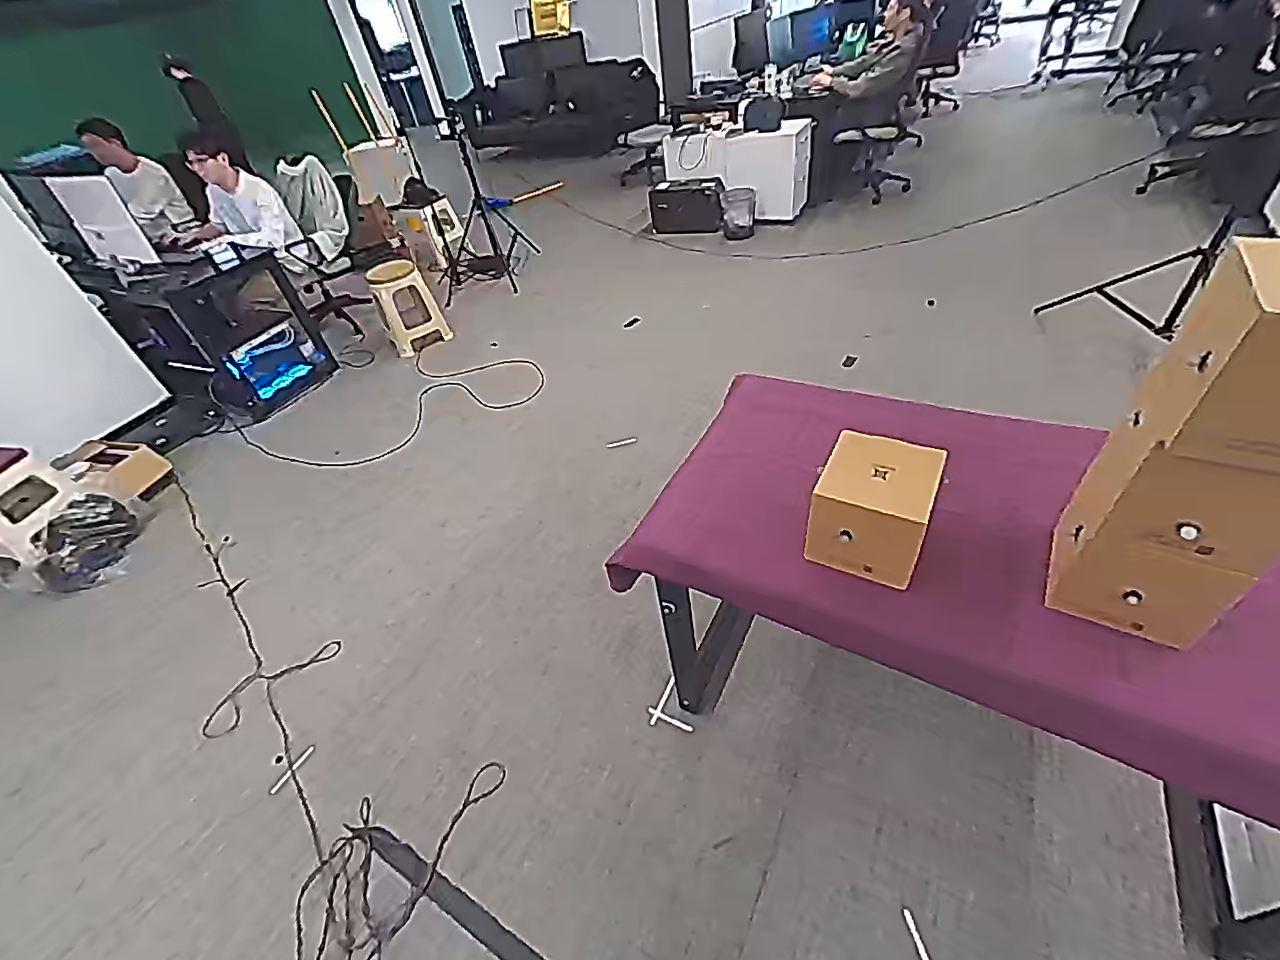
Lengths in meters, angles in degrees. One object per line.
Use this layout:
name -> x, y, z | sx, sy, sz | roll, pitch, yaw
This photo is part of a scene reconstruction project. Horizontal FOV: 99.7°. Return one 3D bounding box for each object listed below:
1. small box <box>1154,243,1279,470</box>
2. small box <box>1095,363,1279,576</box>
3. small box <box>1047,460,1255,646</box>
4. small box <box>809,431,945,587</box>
small box -> 0.669, -0.120, 0.546 | 0.168, 0.176, 0.179 | 16, 48, 25
small box -> 0.700, -0.017, 0.669 | 0.168, 0.176, 0.179 | 18, 50, 28
small box -> 0.717, 0.105, 0.779 | 0.168, 0.176, 0.179 | 19, 49, 28
small box -> 0.389, 0.049, 0.905 | 0.168, 0.176, 0.179 | 17, 48, 26
